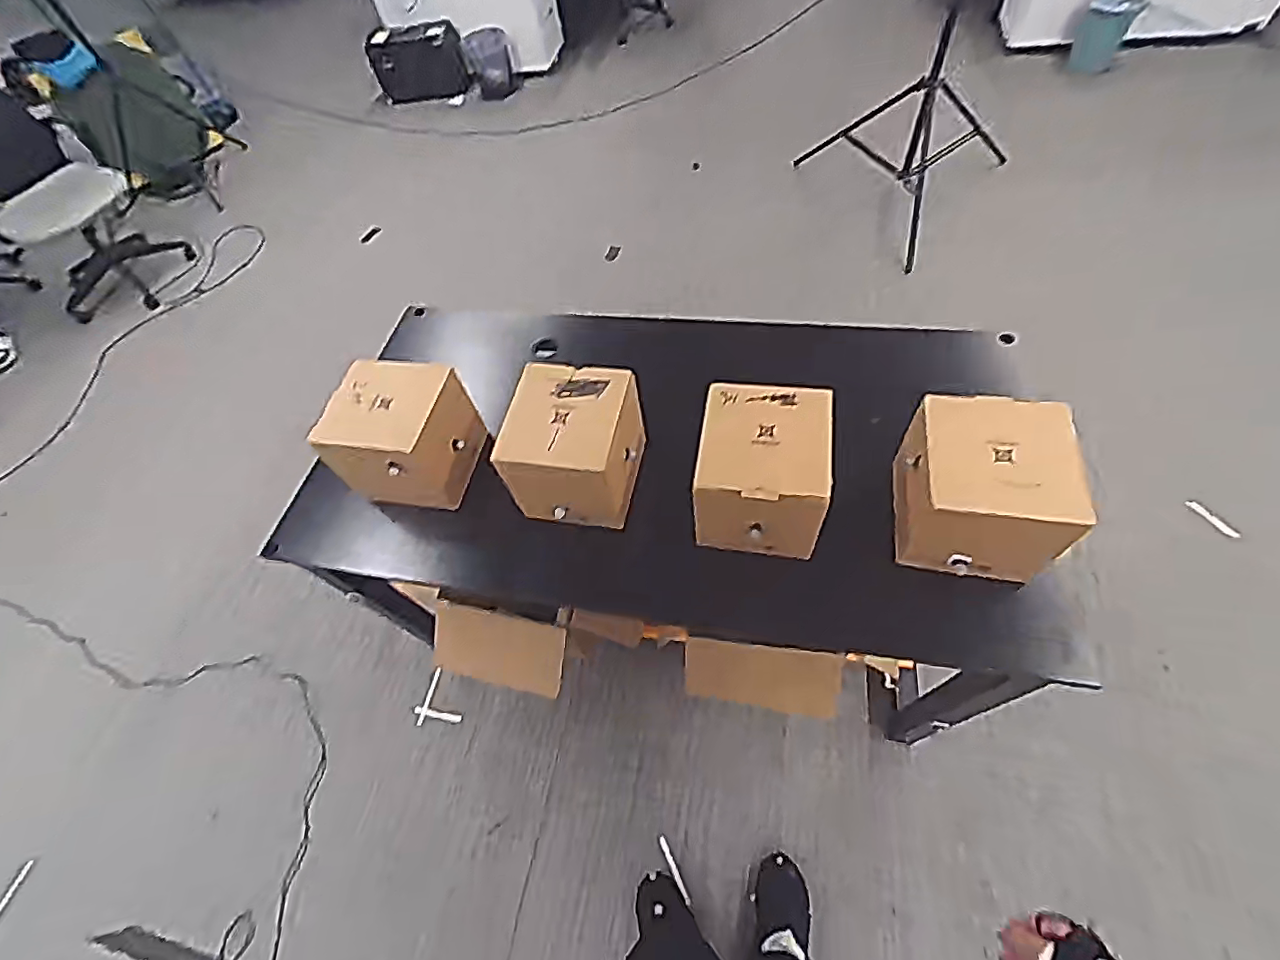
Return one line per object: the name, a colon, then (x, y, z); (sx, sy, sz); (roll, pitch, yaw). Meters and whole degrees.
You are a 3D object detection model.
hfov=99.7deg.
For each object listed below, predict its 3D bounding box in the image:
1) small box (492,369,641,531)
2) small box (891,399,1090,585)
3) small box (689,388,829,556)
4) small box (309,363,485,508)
small box: (-0.098, -0.045, 0.829); (0.168, 0.176, 0.179); (7, 59, 12)
small box: (0.440, 0.017, 0.714); (0.168, 0.176, 0.179); (6, 59, 13)
small box: (0.168, -0.007, 0.768); (0.168, 0.176, 0.179); (6, 59, 12)
small box: (-0.377, -0.068, 0.881); (0.179, 0.176, 0.168); (6, 58, 11)
